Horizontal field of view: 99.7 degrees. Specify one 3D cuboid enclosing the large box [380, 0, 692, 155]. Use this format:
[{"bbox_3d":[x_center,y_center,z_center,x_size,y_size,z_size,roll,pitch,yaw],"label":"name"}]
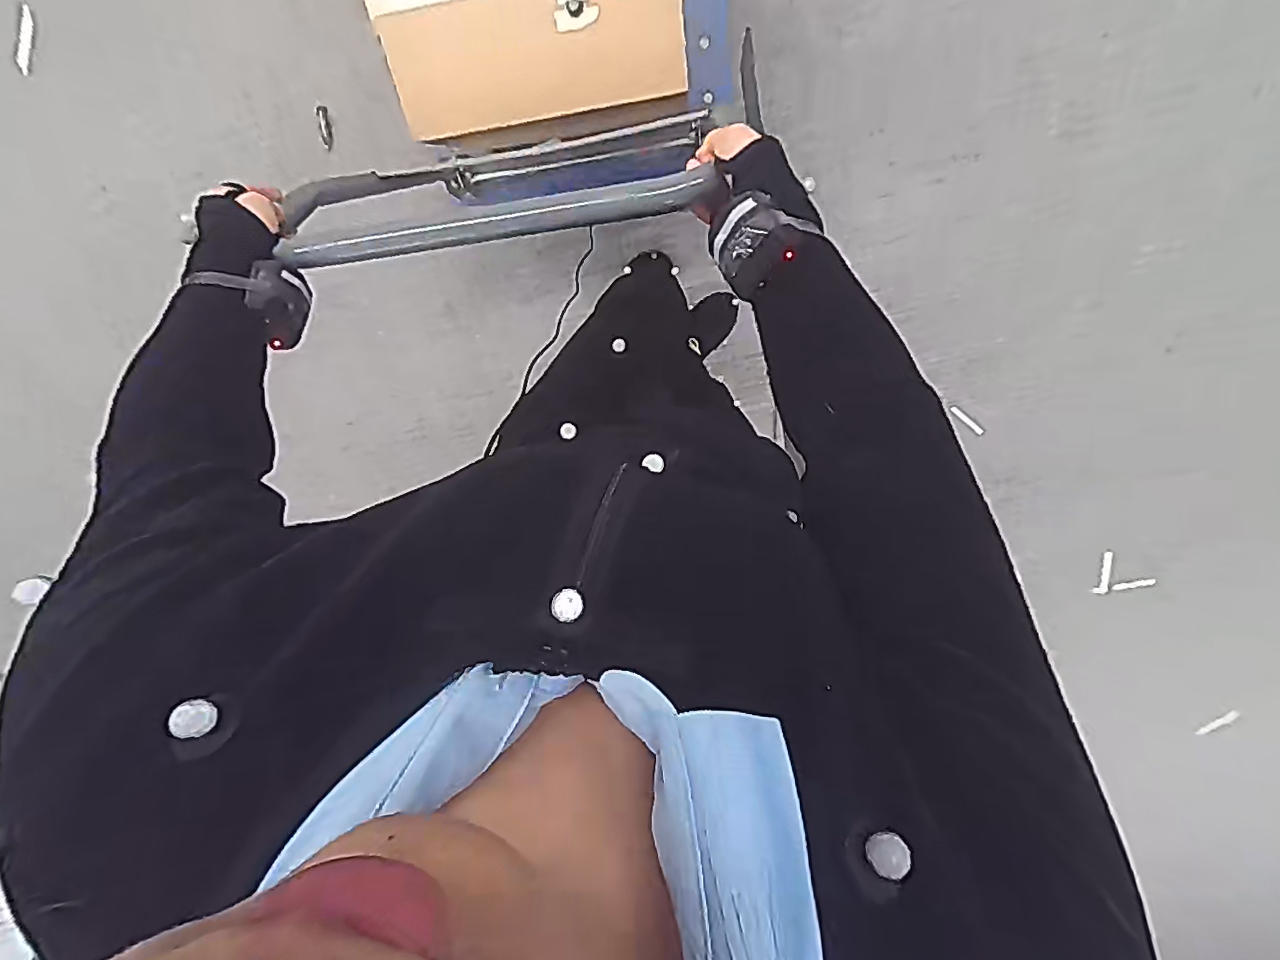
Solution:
[{"bbox_3d":[-0.141,-0.716,0.826,0.408,0.320,0.320,-6,119,8],"label":"large box"}]
